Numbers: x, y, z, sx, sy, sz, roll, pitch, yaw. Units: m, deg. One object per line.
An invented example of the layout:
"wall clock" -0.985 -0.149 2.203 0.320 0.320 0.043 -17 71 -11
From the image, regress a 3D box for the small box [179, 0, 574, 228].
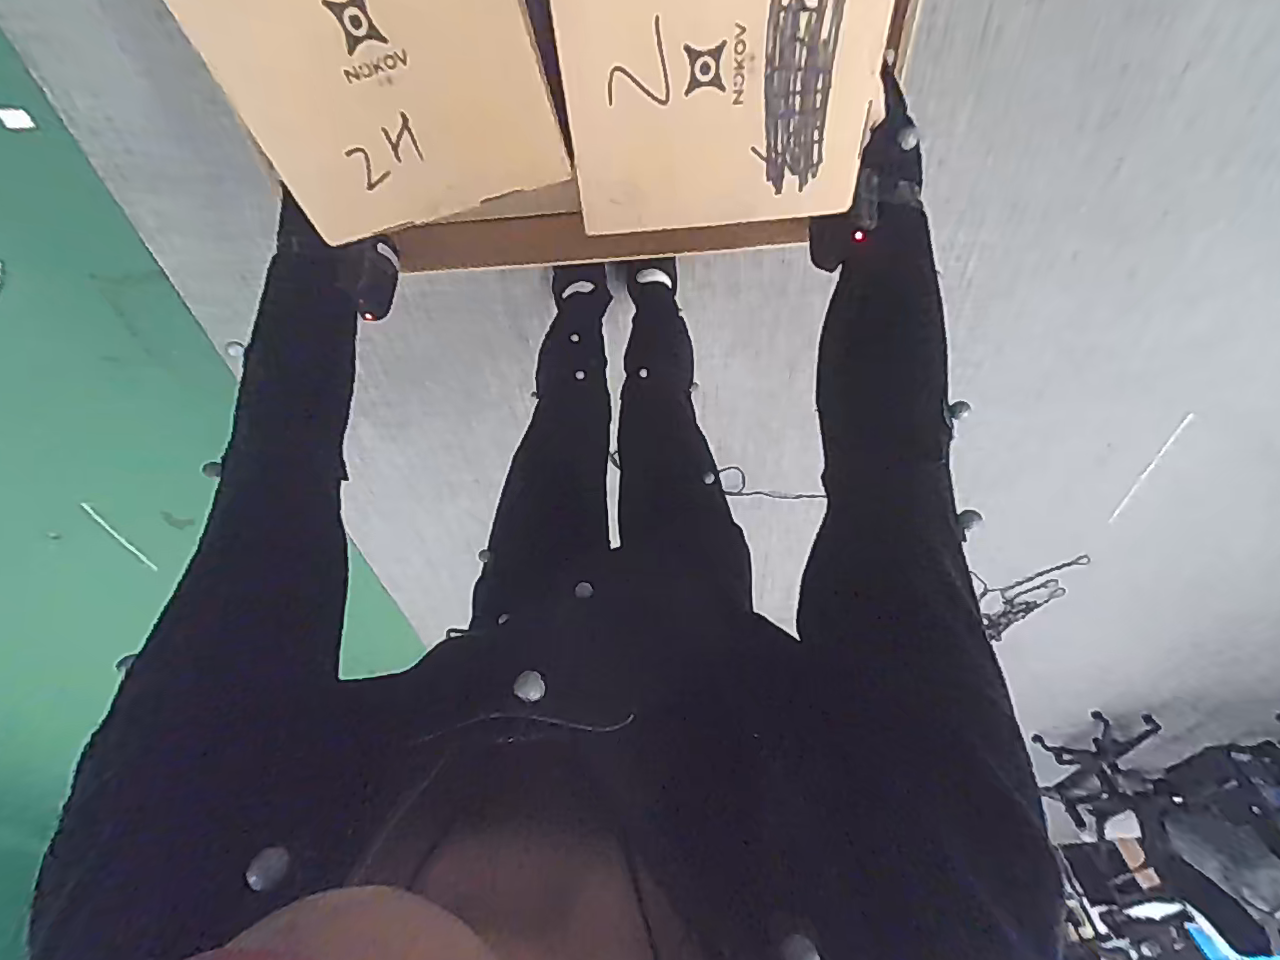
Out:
"small box" -0.144 -0.288 0.328 0.168 0.176 0.179 -11 135 8
